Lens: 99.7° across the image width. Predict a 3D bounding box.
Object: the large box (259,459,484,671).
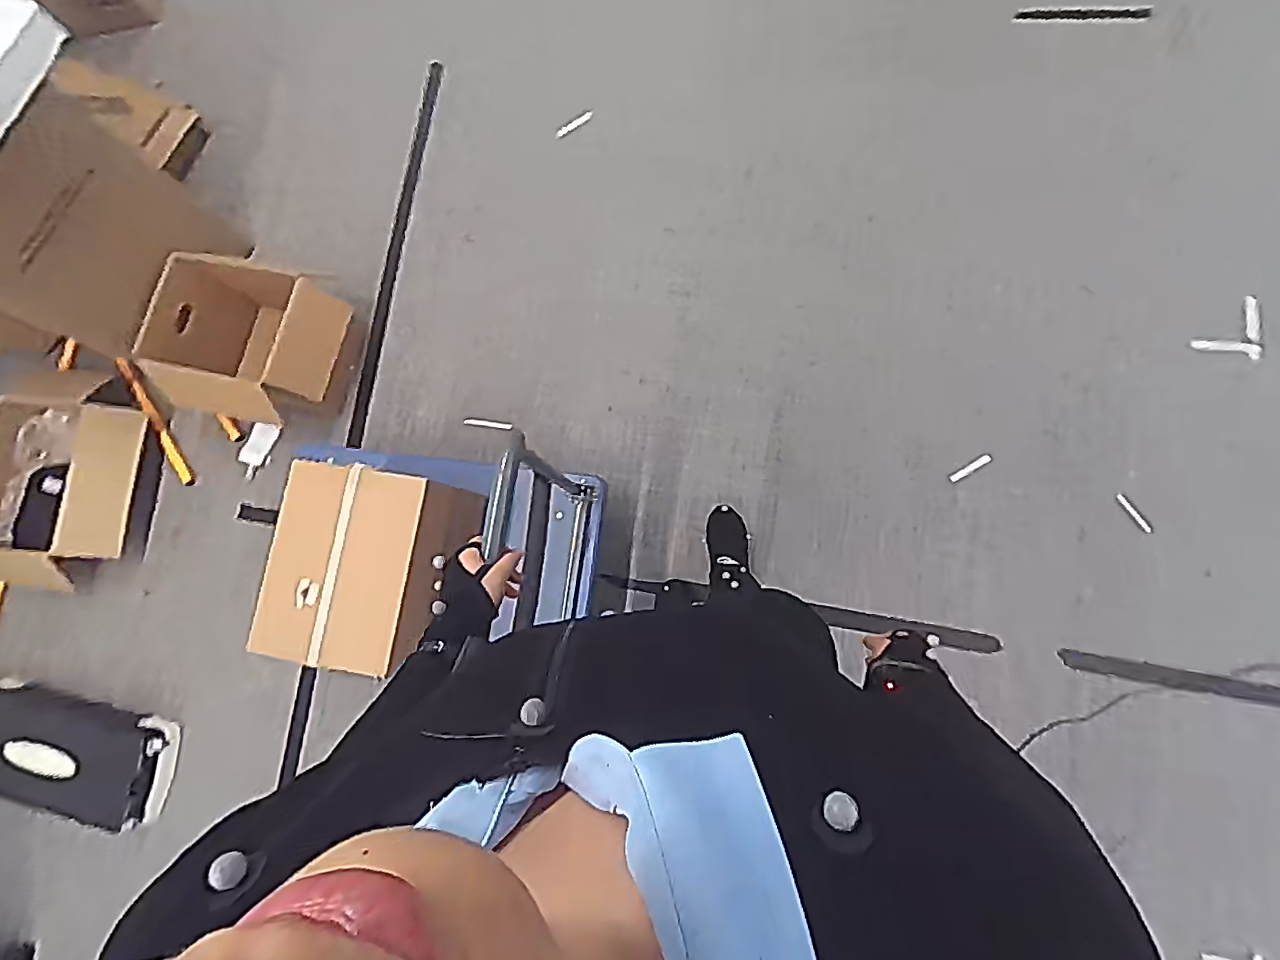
[{"bbox_3d":[-0.592,0.184,1.259,0.320,0.320,0.408,7,83,9],"label":"large box"}]
